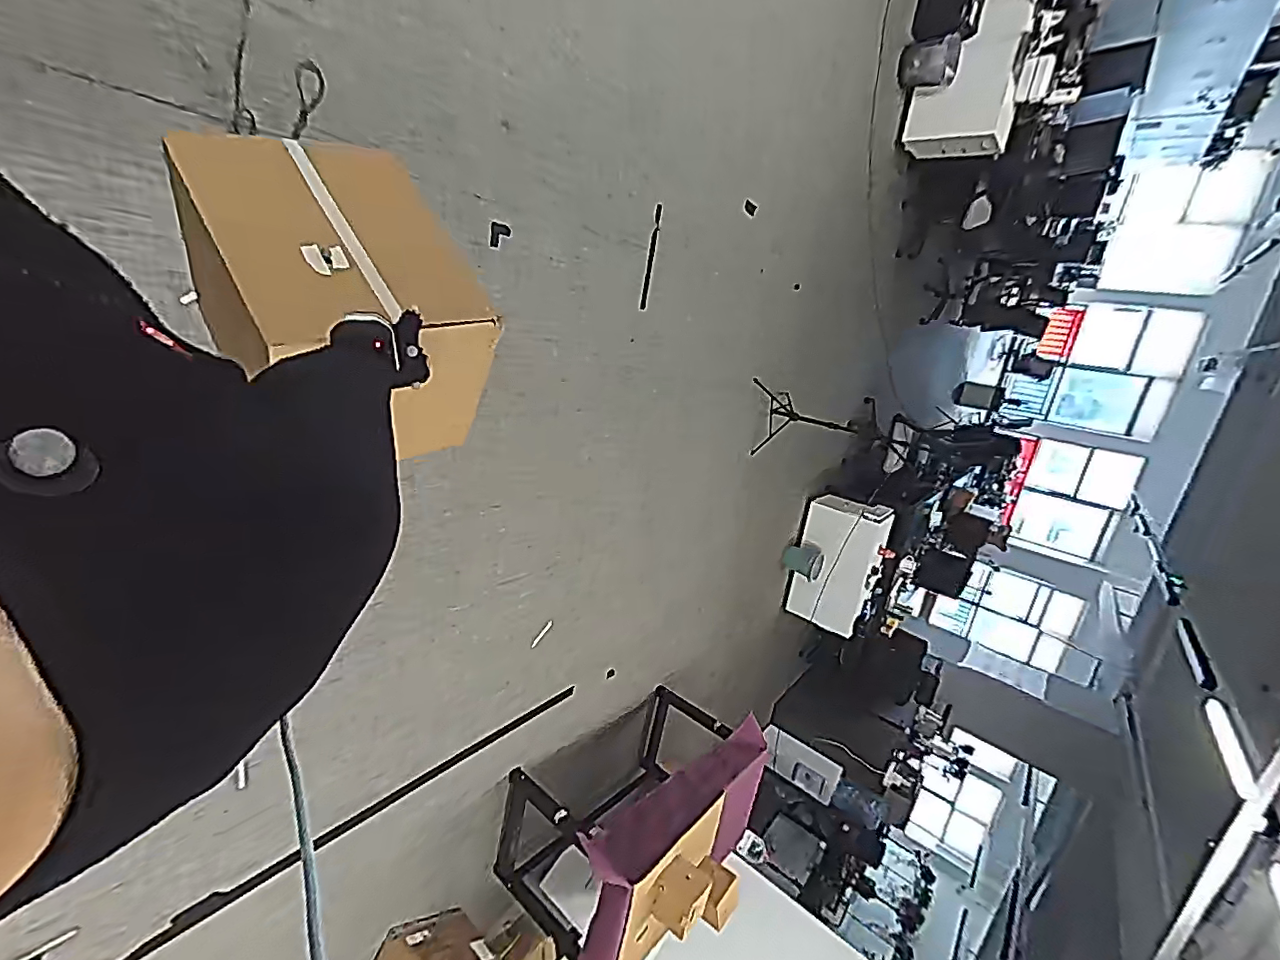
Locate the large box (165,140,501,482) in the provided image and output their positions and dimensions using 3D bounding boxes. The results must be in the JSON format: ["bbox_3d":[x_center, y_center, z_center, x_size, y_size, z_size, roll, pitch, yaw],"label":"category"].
[{"bbox_3d":[-0.497,-0.270,0.891,0.320,0.408,0.320,-23,161,-39],"label":"large box"}]
